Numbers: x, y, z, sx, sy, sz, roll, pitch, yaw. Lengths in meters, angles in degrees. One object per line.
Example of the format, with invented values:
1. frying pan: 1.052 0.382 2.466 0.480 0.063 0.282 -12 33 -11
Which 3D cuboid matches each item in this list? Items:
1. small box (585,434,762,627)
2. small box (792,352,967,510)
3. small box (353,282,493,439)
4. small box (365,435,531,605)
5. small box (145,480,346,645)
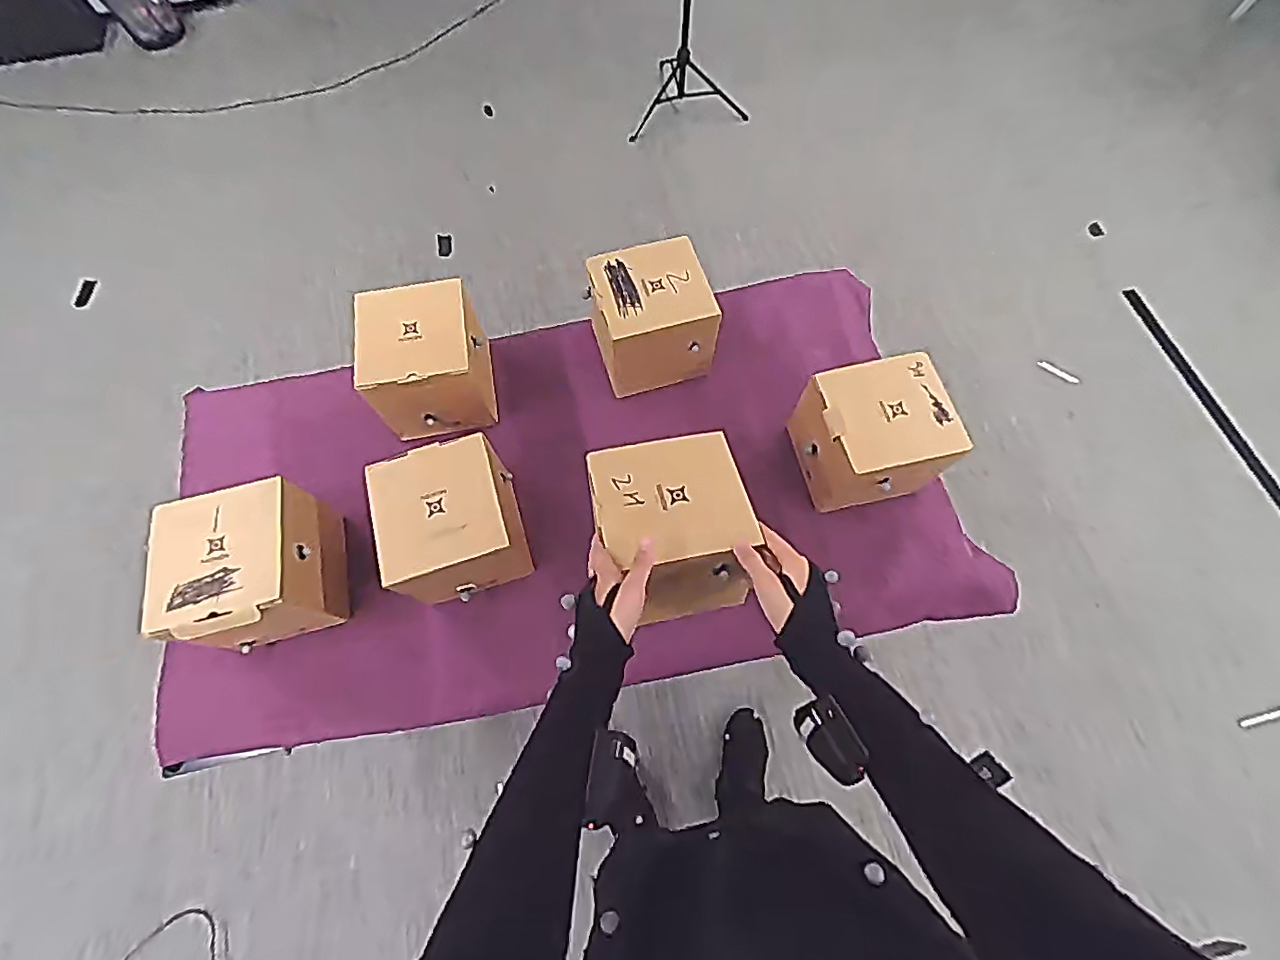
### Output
1. small box: 0.033 0.068 0.682 0.179 0.176 0.168 -10 55 -6
2. small box: 0.347 -0.066 0.830 0.179 0.176 0.168 -12 69 -3
3. small box: -0.346 -0.189 0.884 0.168 0.176 0.179 -10 69 -4
4. small box: -0.270 0.065 0.786 0.168 0.176 0.179 -18 69 -5
5. small box: -0.537 0.126 0.761 0.168 0.176 0.179 -14 67 -6
